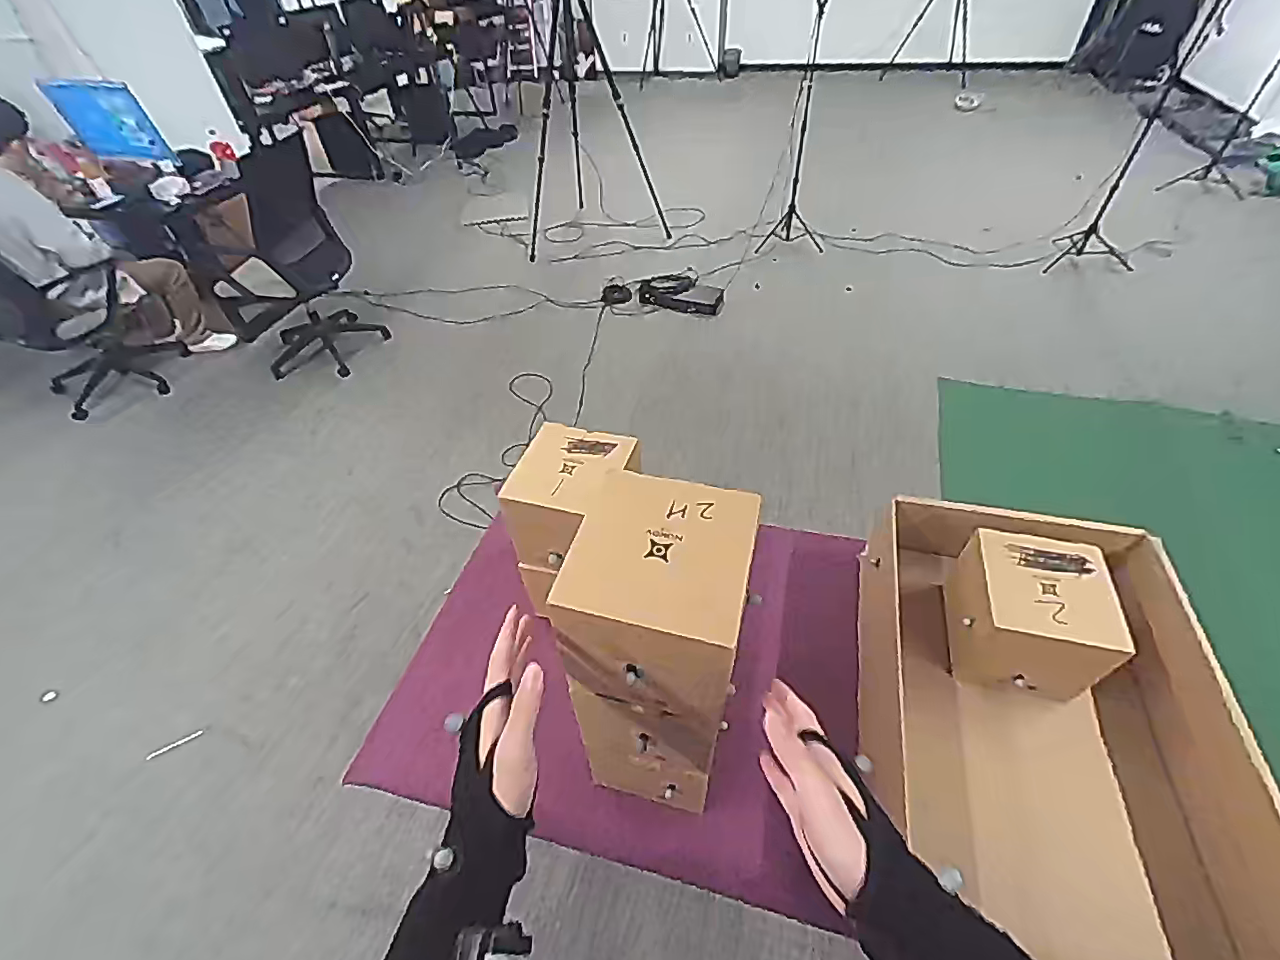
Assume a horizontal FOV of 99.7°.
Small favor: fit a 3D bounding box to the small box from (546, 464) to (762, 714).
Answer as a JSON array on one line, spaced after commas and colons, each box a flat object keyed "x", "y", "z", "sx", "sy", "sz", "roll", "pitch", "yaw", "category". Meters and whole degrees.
[{"x": 0.023, "y": 0.113, "z": 0.560, "sx": 0.168, "sy": 0.176, "sz": 0.179, "roll": 11, "pitch": 46, "yaw": 12, "category": "small box"}]

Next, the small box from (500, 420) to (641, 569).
[{"x": -0.100, "y": 0.032, "z": 0.877, "sx": 0.168, "sy": 0.176, "sz": 0.179, "roll": 11, "pitch": 48, "yaw": 15, "category": "small box"}]

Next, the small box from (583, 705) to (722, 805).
[{"x": 0.030, "y": 0.346, "z": 0.793, "sx": 0.168, "sy": 0.176, "sz": 0.179, "roll": 10, "pitch": 46, "yaw": 12, "category": "small box"}]

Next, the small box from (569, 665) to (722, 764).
[{"x": 0.026, "y": 0.229, "z": 0.679, "sx": 0.168, "sy": 0.176, "sz": 0.179, "roll": 10, "pitch": 48, "yaw": 11, "category": "small box"}]

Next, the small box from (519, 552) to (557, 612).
[{"x": -0.099, "y": 0.147, "z": 0.995, "sx": 0.168, "sy": 0.176, "sz": 0.179, "roll": 8, "pitch": 46, "yaw": 12, "category": "small box"}]
